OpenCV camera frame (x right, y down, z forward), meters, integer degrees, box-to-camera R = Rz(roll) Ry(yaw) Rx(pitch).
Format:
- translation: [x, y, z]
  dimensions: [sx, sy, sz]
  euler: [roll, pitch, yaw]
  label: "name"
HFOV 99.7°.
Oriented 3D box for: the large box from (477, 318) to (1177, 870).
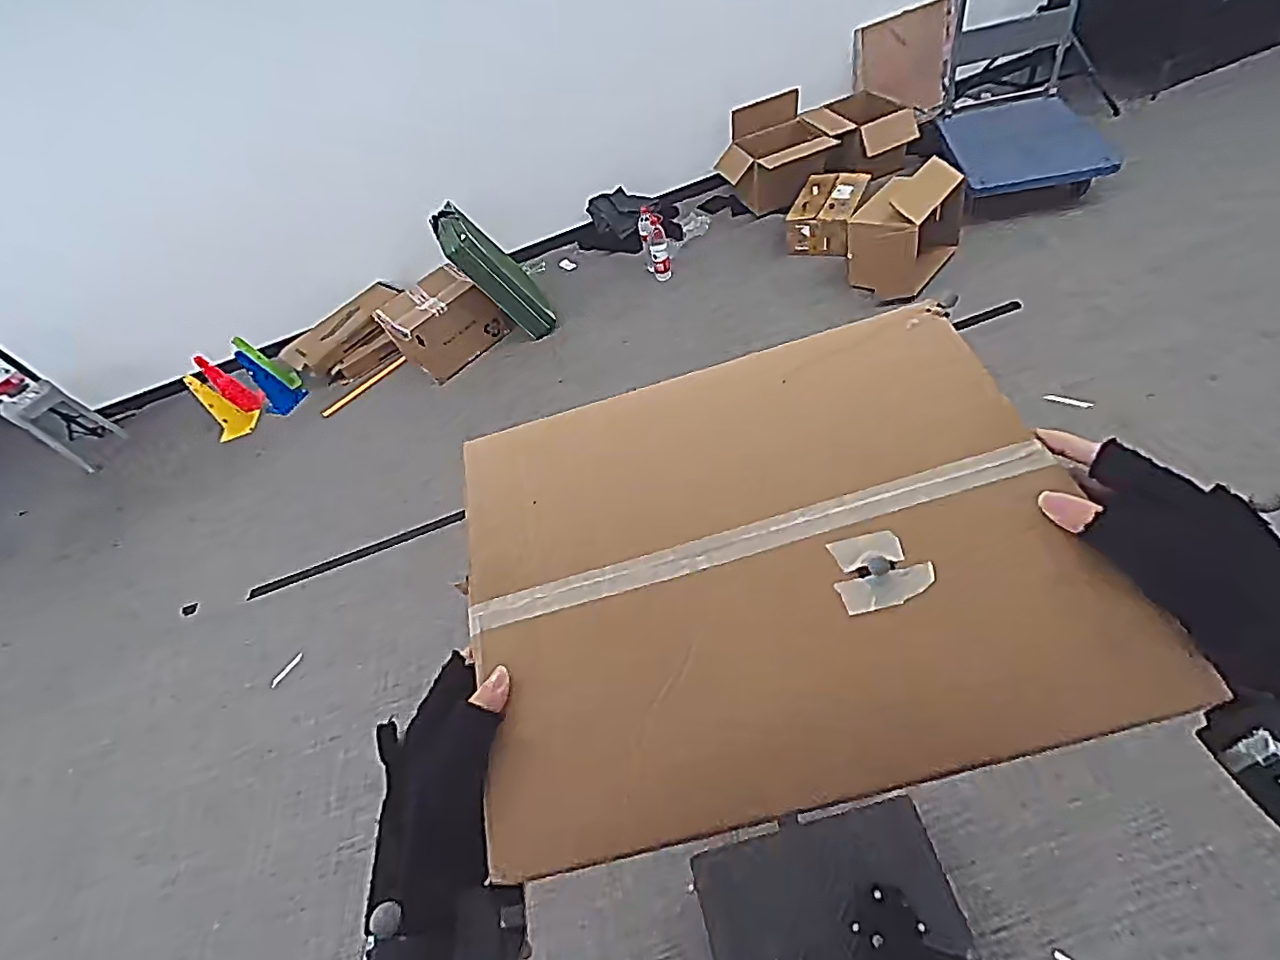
- translation: [0.107, 0.119, 0.513]
  dimensions: [0.408, 0.320, 0.320]
  euler: [-17, 59, 3]
  label: "large box"
